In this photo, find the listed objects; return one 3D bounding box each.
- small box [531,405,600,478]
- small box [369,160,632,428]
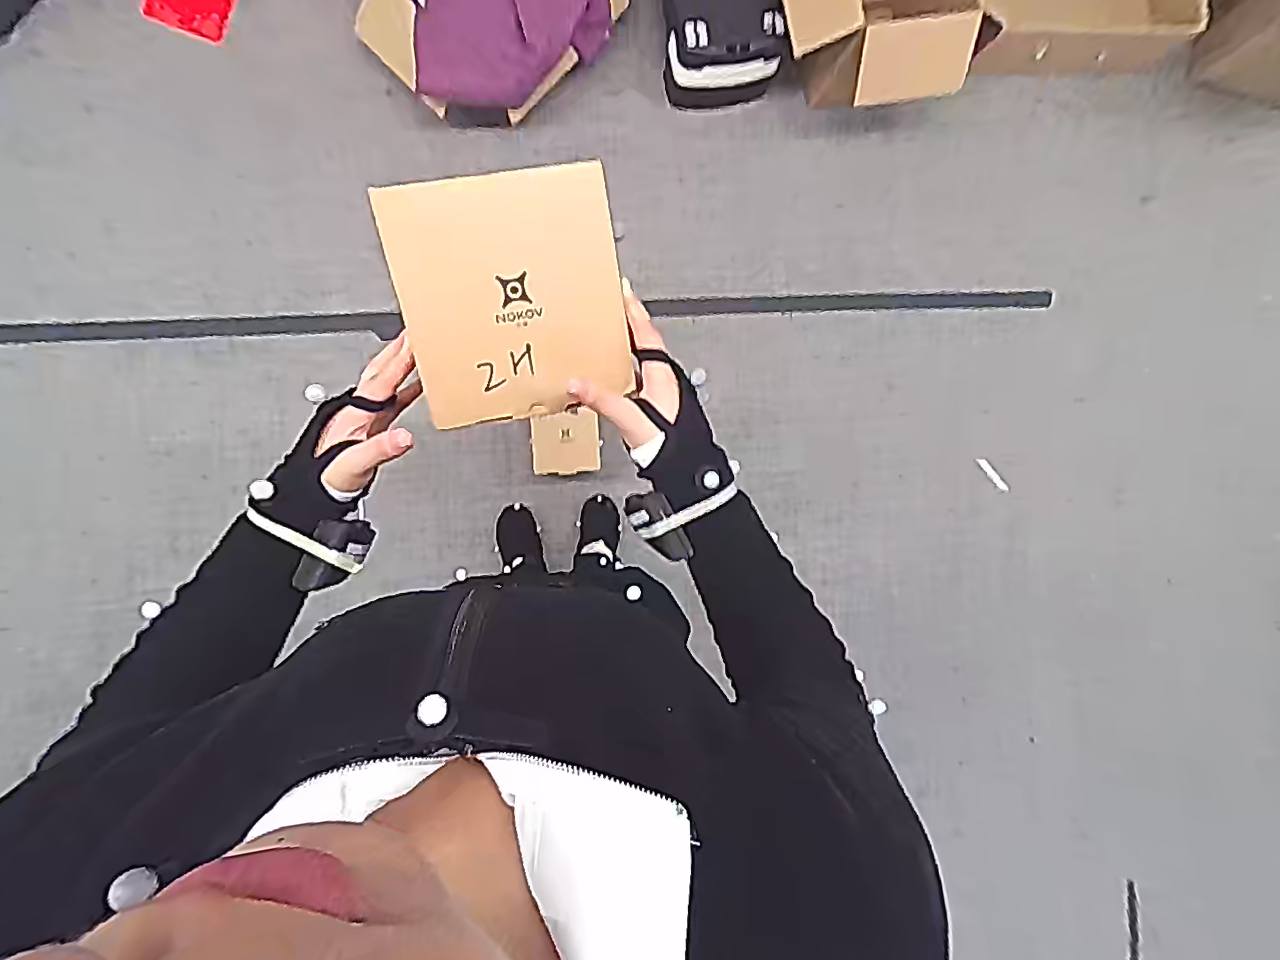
[{"bbox_3d":[-0.189,-0.099,1.410,0.168,0.176,0.179,-3,92,-6],"label":"small box"},{"bbox_3d":[-0.112,-0.157,0.479,0.168,0.176,0.179,-11,109,-8],"label":"small box"}]
